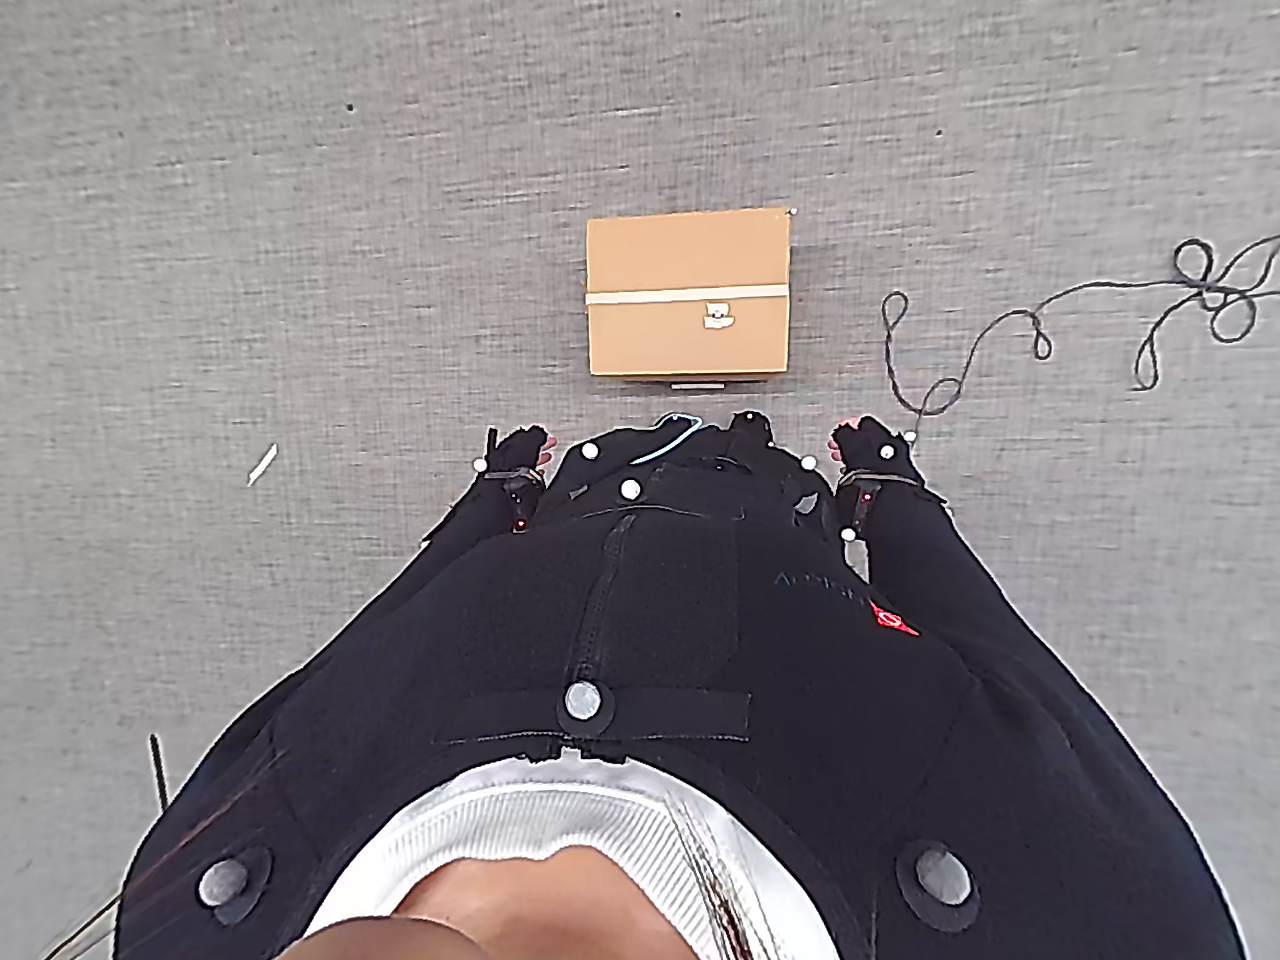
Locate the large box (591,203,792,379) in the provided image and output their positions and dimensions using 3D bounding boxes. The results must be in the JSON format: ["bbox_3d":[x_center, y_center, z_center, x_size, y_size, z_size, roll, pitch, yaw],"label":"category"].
[{"bbox_3d":[0.119,-0.401,1.233,0.408,0.320,0.320,0,99,8],"label":"large box"}]

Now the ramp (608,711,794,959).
[{"bbox_3d":[0.158,1.169,1.500,0.509,0.206,0.991,1,97,10],"label":"ramp"}]
